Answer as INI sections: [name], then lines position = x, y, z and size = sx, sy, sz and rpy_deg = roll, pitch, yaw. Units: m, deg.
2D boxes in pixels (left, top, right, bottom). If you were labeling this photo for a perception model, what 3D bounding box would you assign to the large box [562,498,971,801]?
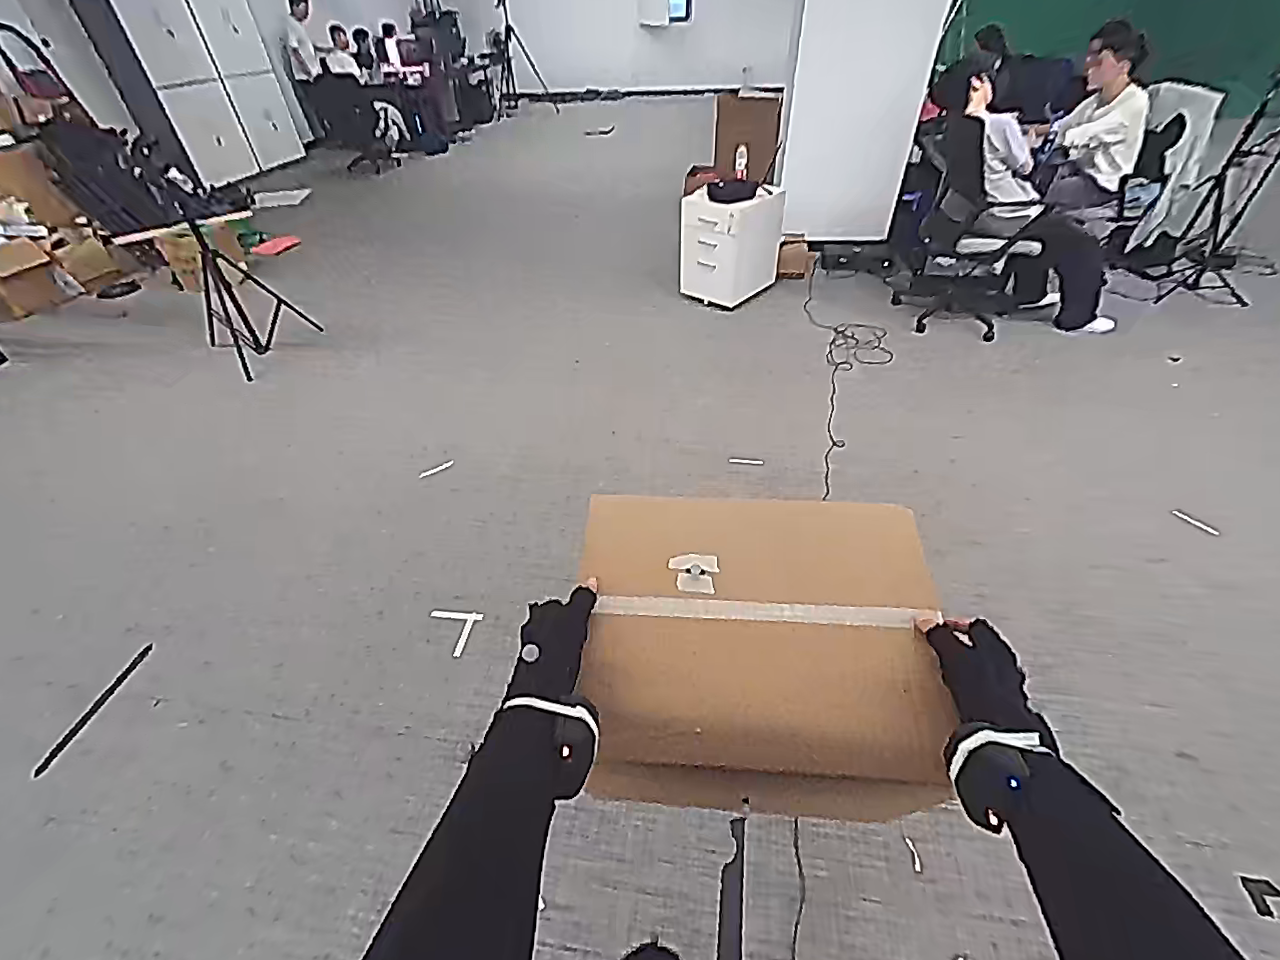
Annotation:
[large box]
position = 0.138, 0.235, 0.733
size = 0.408, 0.320, 0.320
rpy_deg = 1, 53, 5
